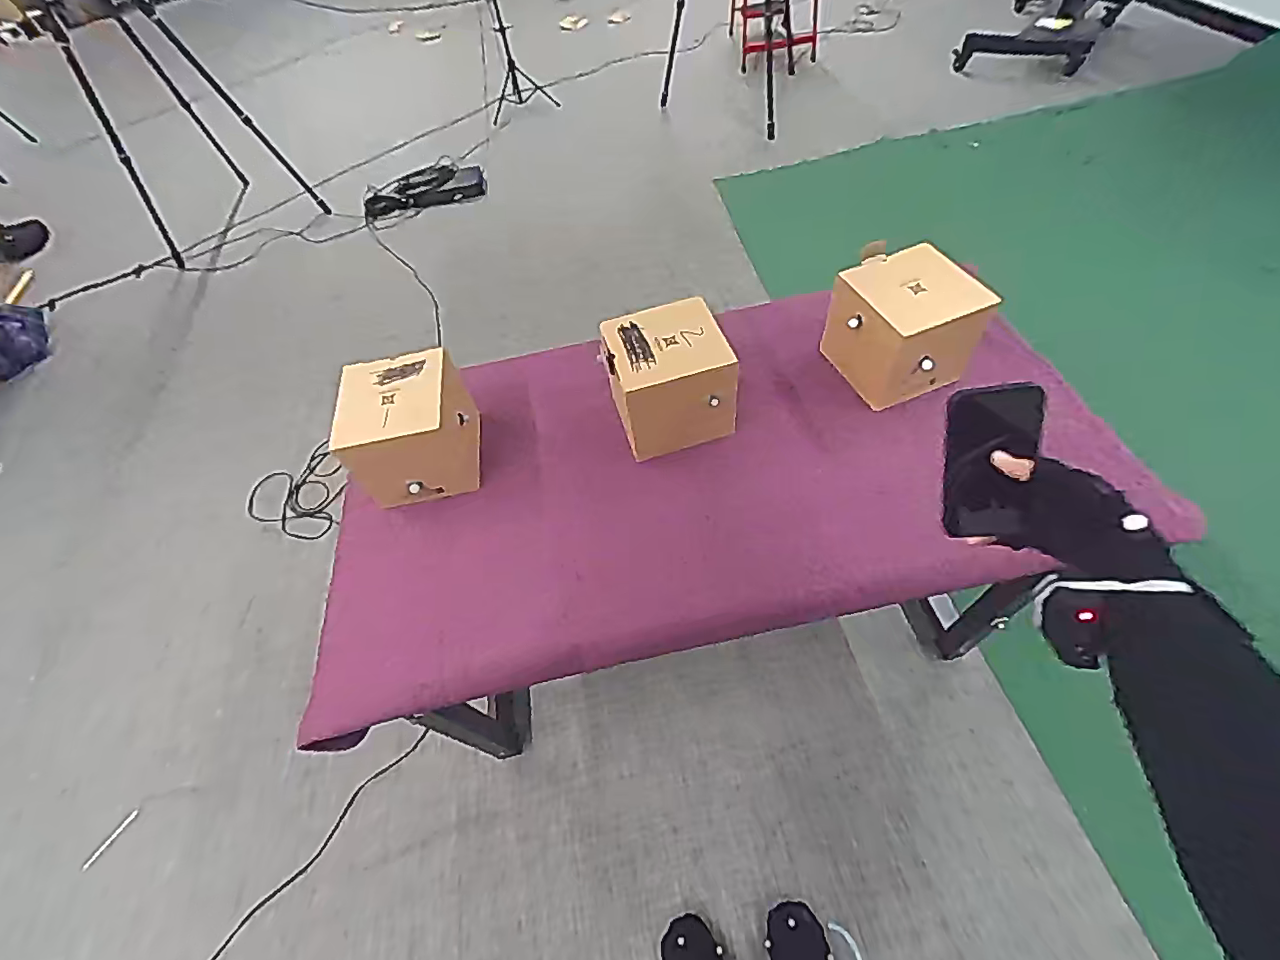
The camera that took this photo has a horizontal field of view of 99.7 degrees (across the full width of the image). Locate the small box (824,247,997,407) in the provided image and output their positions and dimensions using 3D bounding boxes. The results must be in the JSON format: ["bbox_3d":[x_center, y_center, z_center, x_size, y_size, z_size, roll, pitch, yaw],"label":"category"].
[{"bbox_3d":[0.428,-0.243,0.890,0.168,0.176,0.179,-21,55,-6],"label":"small box"}]

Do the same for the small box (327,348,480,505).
[{"bbox_3d":[-0.370,-0.084,0.881,0.168,0.176,0.179,-11,57,0],"label":"small box"}]
